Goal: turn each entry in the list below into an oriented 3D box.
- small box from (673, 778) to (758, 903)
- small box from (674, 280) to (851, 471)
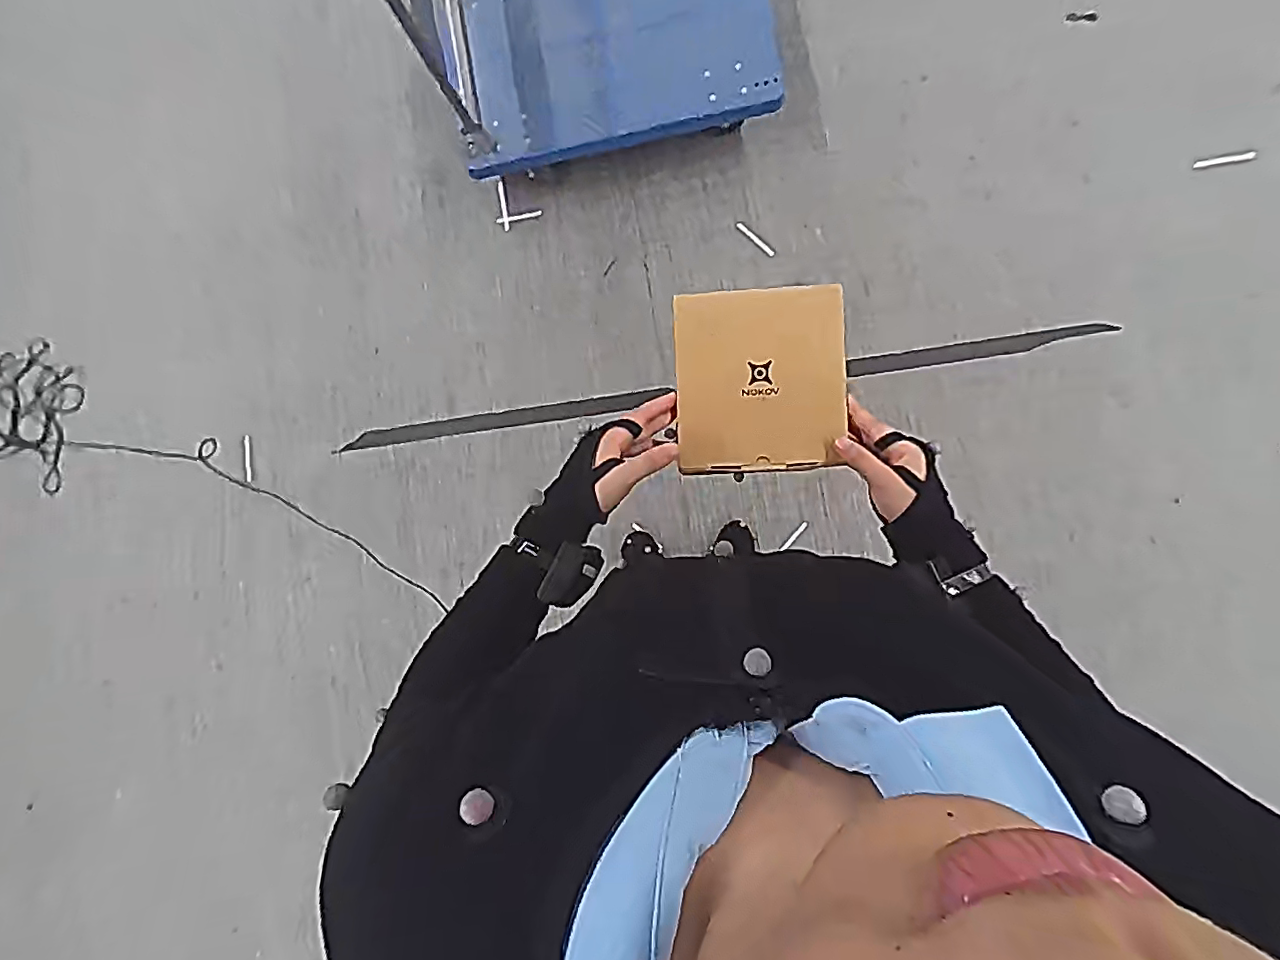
[{"bbox_3d":[0.163,0.792,1.202,0.168,0.176,0.179,-4,85,3],"label":"small box"},{"bbox_3d":[0.122,-0.101,0.600,0.168,0.176,0.179,-3,90,4],"label":"small box"}]
